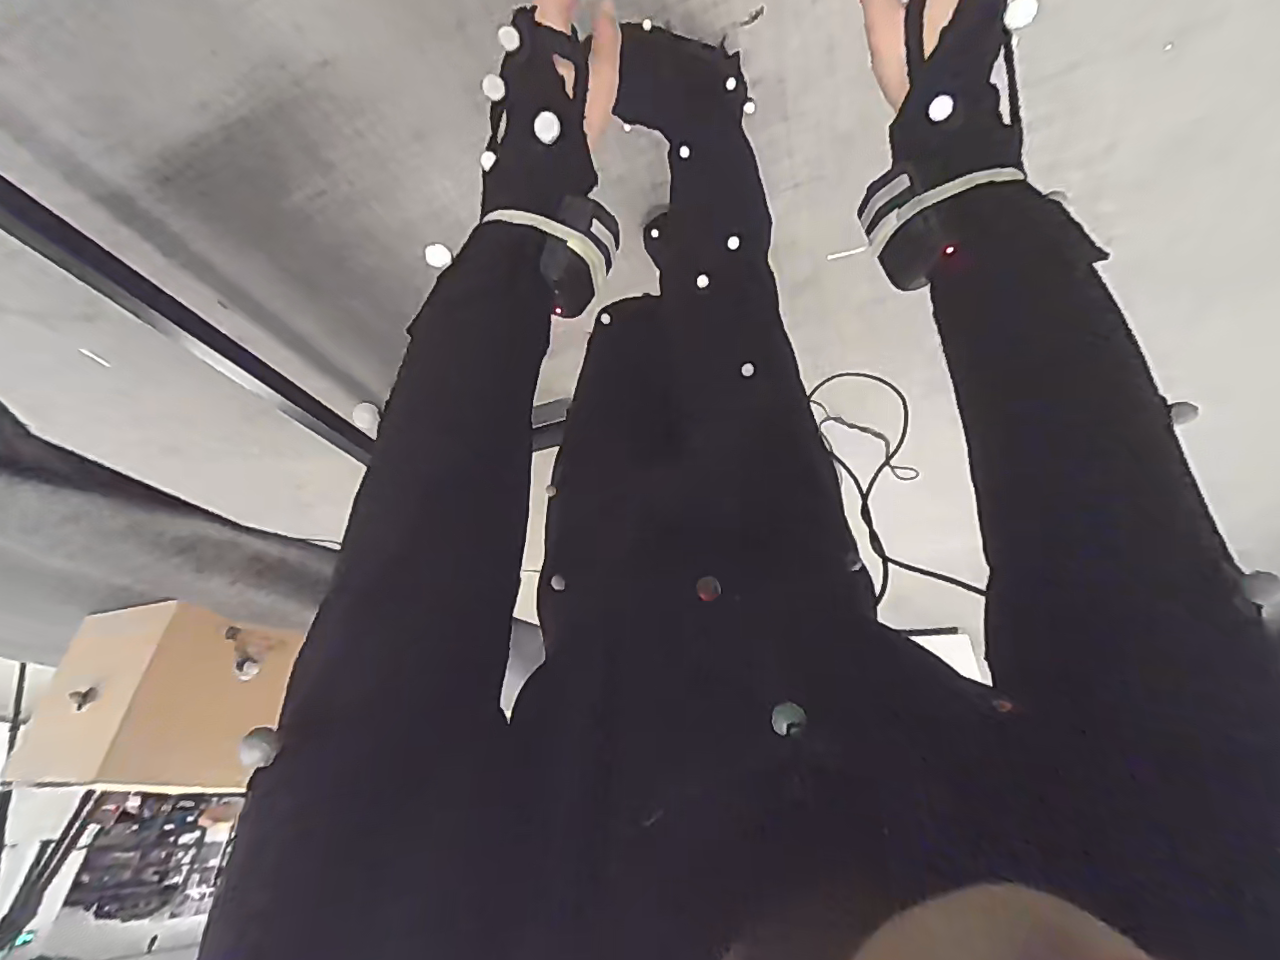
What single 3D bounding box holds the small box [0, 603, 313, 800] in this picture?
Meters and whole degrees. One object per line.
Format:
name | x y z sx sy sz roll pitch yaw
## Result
small box | -0.500 0.244 0.587 0.179 0.176 0.168 -12 146 21
